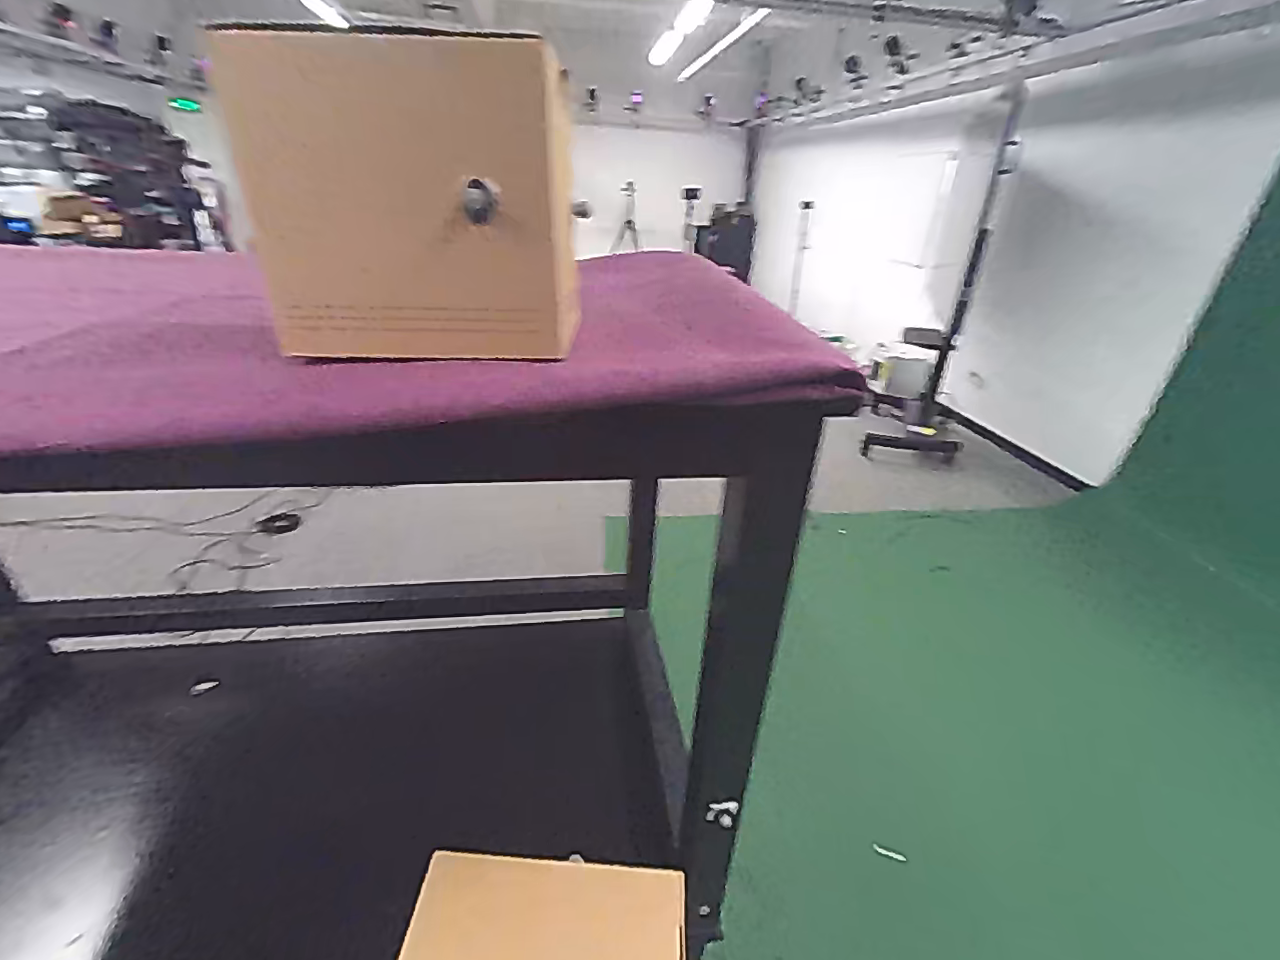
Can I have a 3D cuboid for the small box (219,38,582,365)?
[{"bbox_3d":[-0.132,-0.181,0.383,0.179,0.176,0.168,-1,25,-3],"label":"small box"}]
